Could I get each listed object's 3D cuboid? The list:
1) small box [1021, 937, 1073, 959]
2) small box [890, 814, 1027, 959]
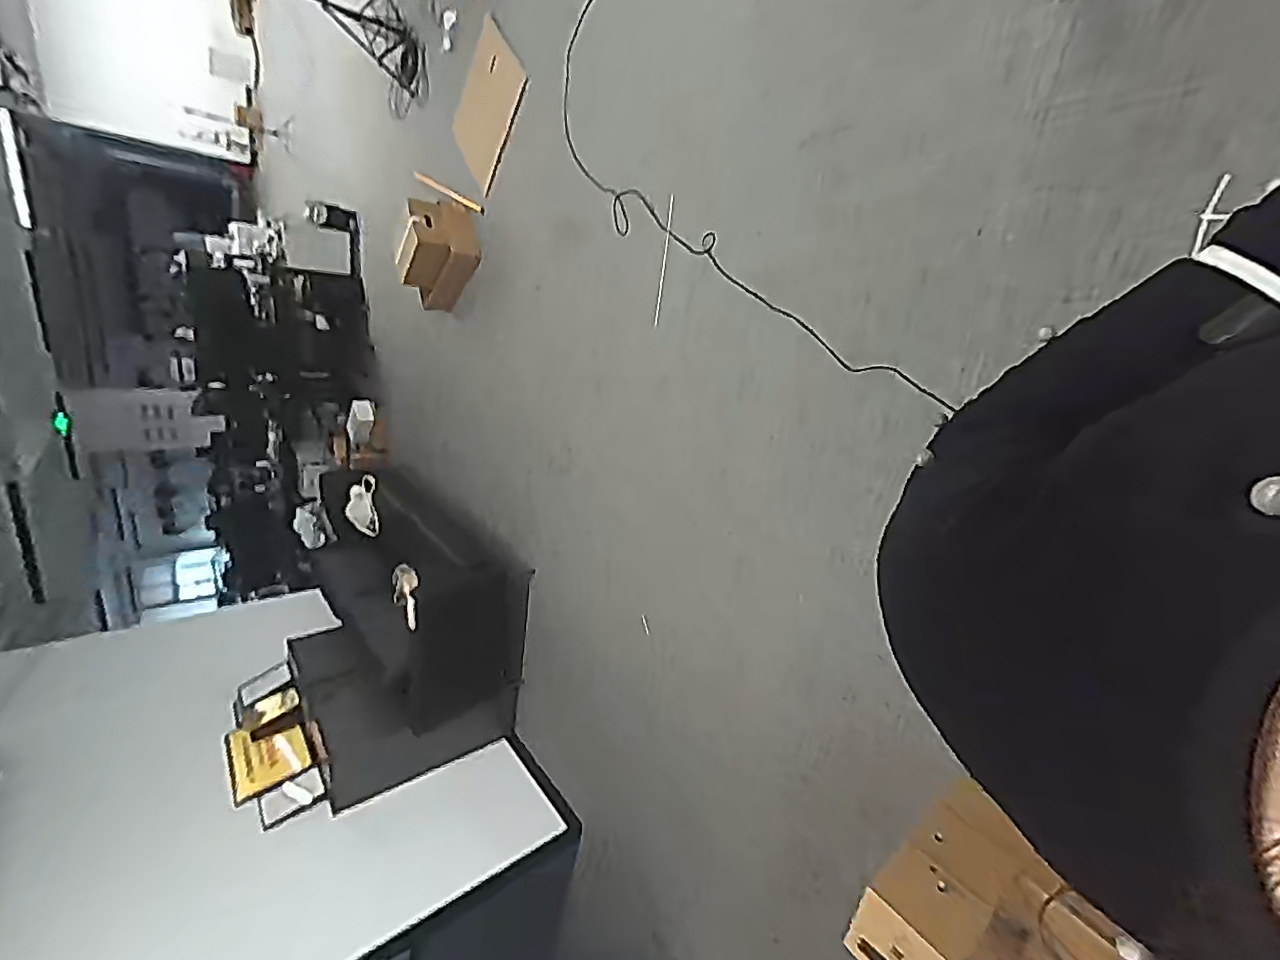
[{"bbox_3d":[0.797,1.045,1.029,0.168,0.176,0.179,29,120,43],"label":"small box"},{"bbox_3d":[0.669,0.847,1.140,0.179,0.176,0.168,27,118,44],"label":"small box"}]
